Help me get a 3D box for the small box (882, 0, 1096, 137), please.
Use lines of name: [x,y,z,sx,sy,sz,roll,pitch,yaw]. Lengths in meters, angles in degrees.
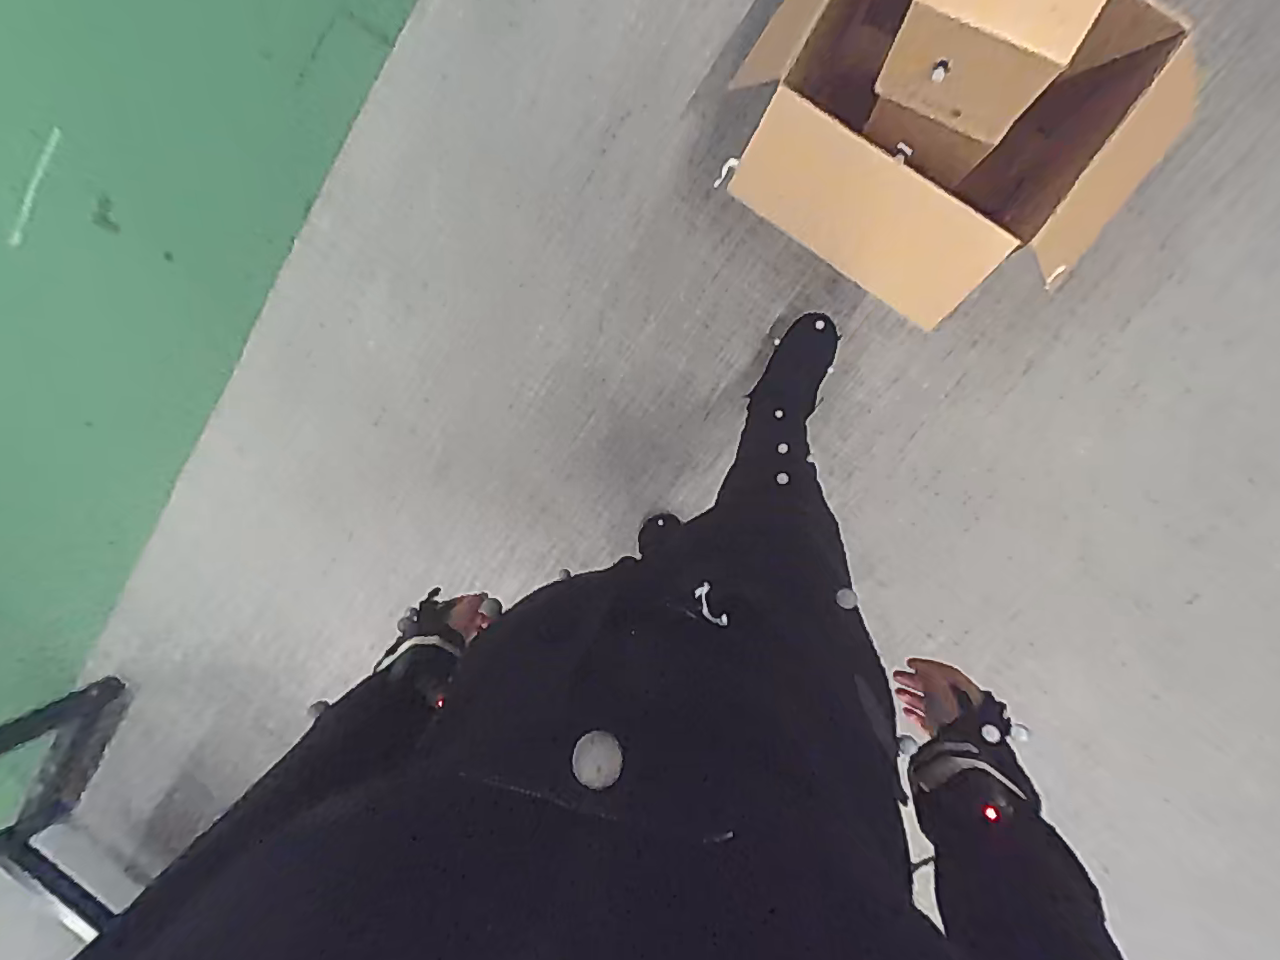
small box: [0.394,-0.529,0.600,0.168,0.176,0.179,29,100,6]
